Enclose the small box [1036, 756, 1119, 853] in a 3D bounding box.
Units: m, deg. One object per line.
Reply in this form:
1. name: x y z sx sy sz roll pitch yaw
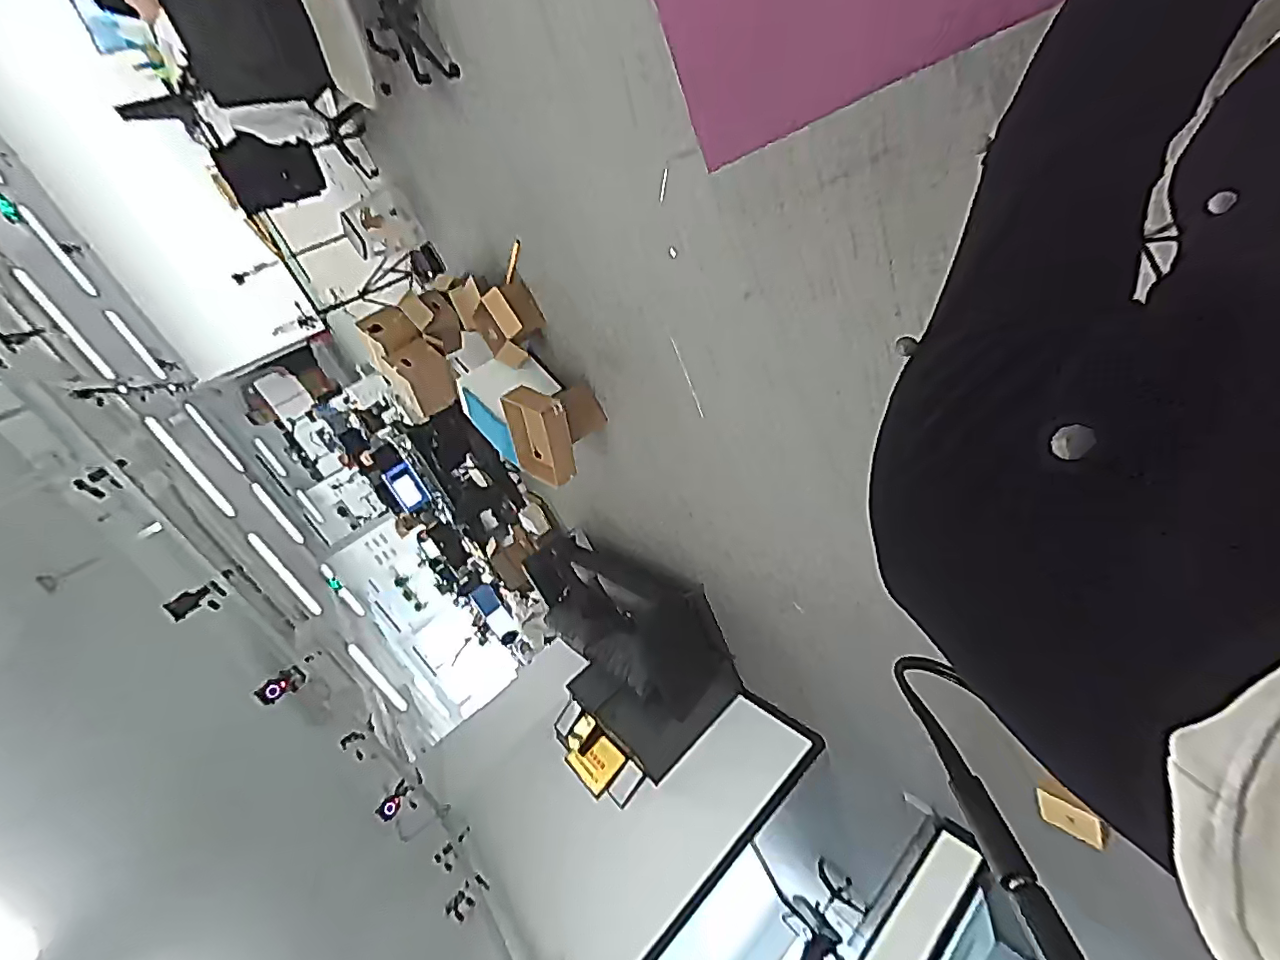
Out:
1. small box: 1.418 1.039 1.749 0.168 0.176 0.179 12 134 55
